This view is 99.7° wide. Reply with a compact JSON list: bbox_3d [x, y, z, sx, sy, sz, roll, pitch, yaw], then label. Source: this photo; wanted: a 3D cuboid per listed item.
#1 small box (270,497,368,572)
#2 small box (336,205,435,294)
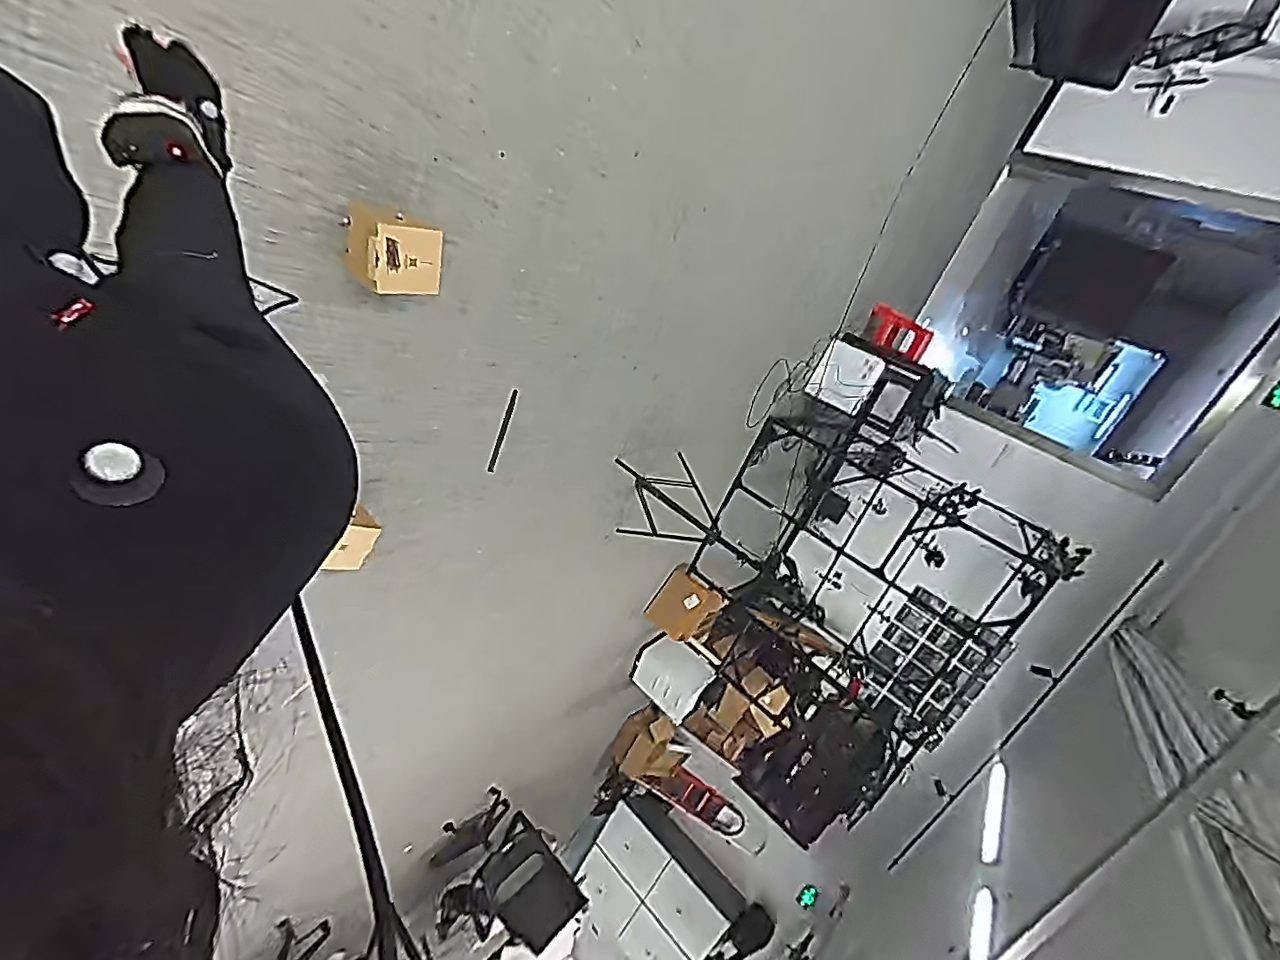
[{"bbox_3d":[-1.001,0.170,1.687,0.168,0.176,0.179,-57,152,5],"label":"small box"},{"bbox_3d":[-0.657,-0.590,1.389,0.179,0.176,0.168,-19,136,-48],"label":"small box"}]
